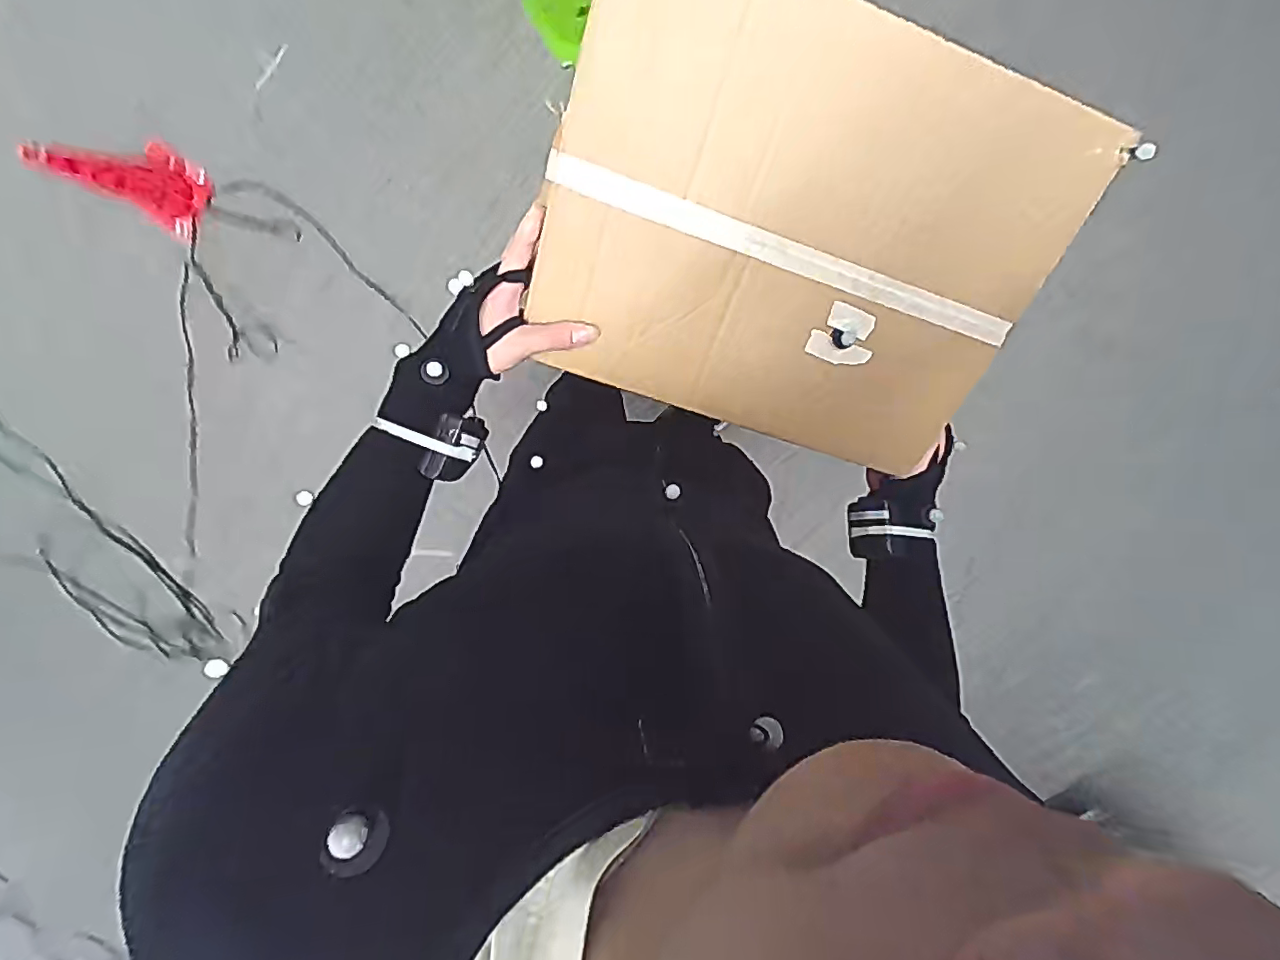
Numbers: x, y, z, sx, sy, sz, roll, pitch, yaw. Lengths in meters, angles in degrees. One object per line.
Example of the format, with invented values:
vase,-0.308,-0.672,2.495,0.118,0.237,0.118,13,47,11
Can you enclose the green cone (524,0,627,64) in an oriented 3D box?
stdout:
green cone,-0.173,-1.127,1.163,0.200,0.368,0.202,-34,99,12
